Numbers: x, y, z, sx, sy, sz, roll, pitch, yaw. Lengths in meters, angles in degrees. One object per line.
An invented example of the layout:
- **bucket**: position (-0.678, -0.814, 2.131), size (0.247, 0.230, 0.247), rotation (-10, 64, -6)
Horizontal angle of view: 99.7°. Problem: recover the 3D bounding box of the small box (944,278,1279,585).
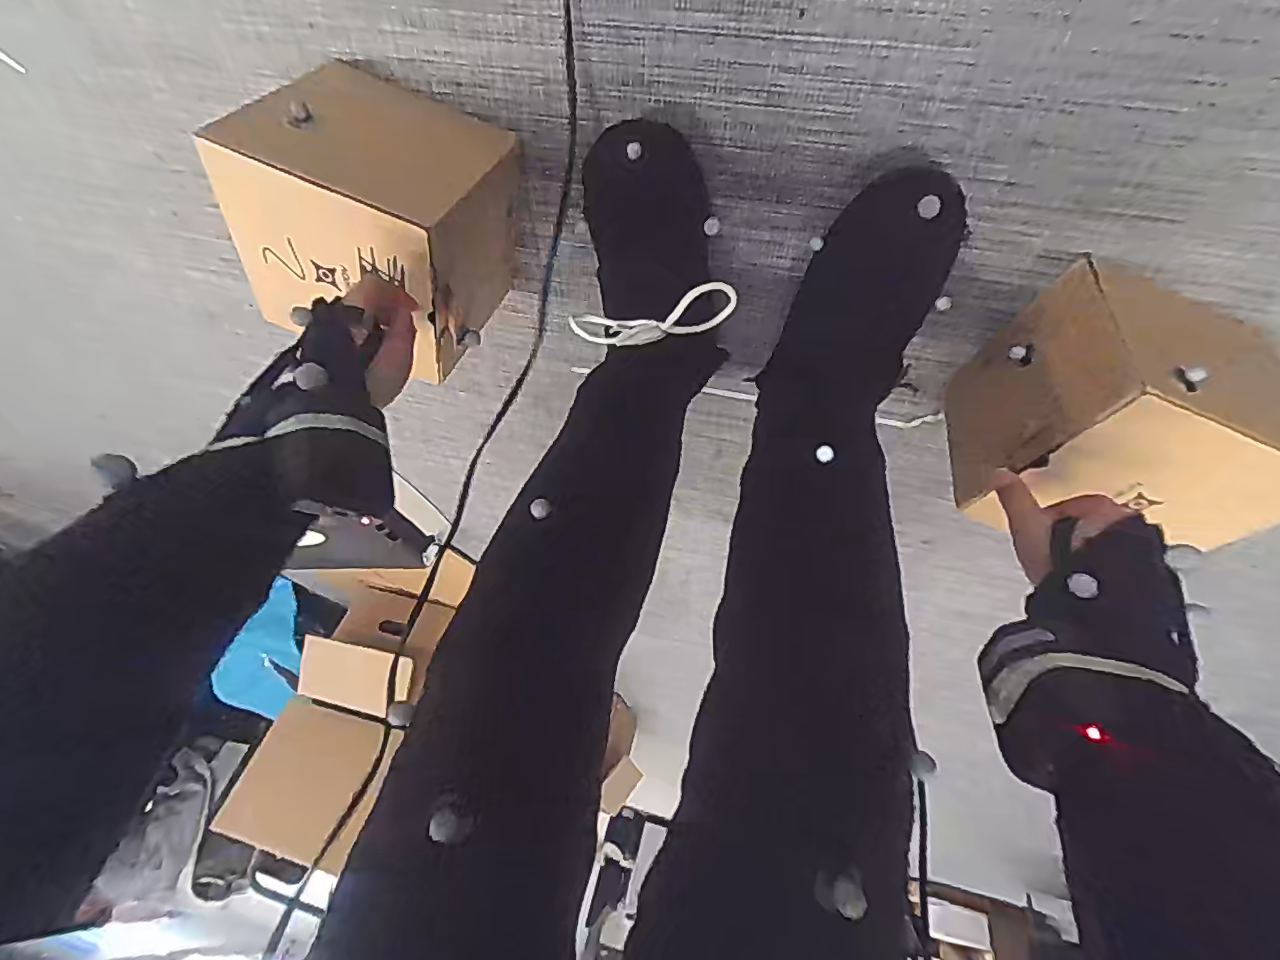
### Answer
- **small box**: position (0.394, -0.039, 0.462), size (0.179, 0.176, 0.168), rotation (21, 145, -4)
